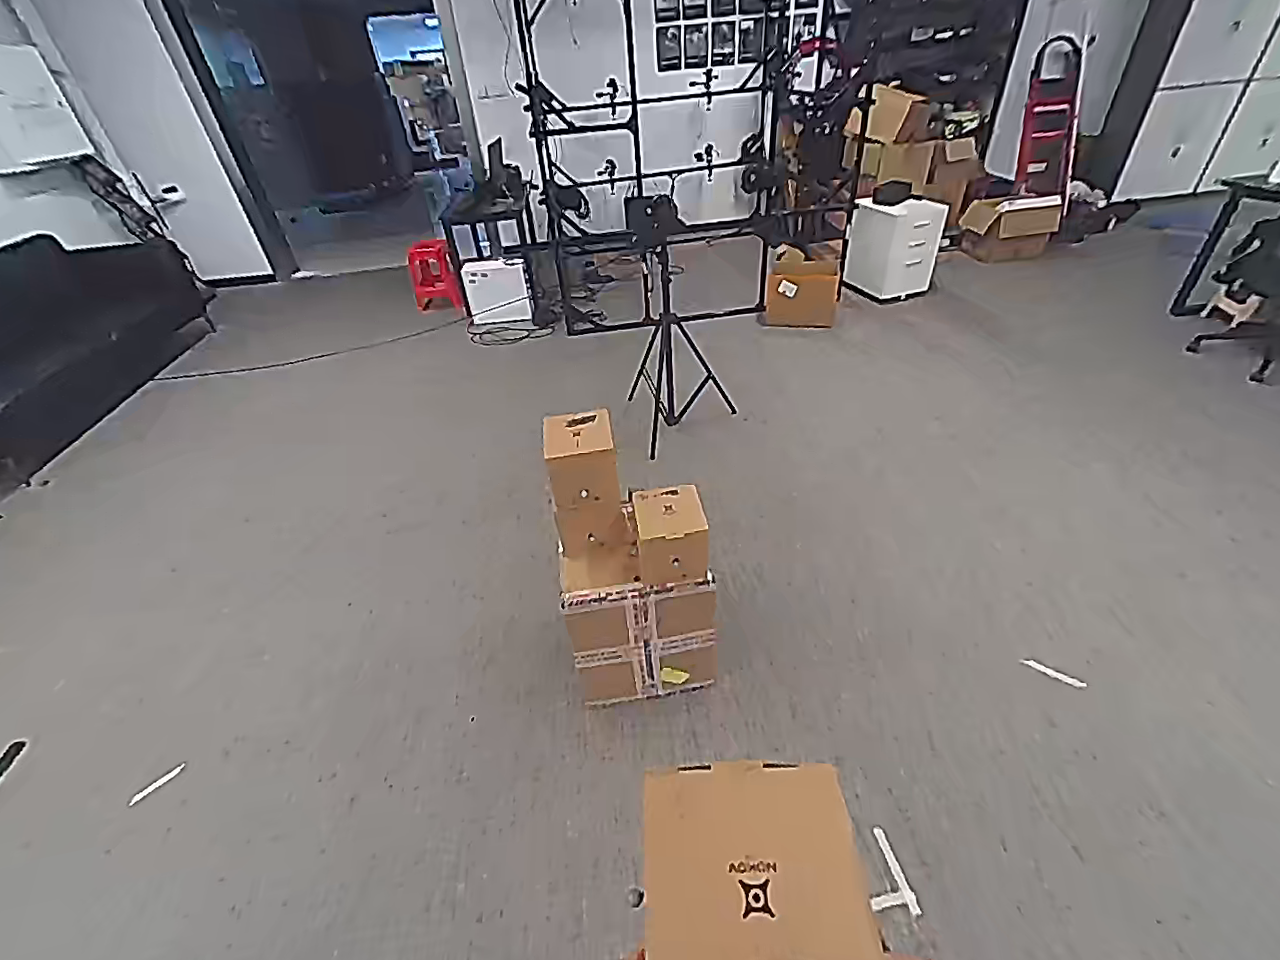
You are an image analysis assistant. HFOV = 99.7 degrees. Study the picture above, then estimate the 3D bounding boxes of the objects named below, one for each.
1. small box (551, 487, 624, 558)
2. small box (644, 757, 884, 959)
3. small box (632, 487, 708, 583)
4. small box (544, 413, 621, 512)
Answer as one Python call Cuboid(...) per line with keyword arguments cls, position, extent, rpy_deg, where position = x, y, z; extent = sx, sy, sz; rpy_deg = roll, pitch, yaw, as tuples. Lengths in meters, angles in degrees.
Cuboid(cls="small box", position=(-0.144, 0.082, 1.465), extent=(0.168, 0.176, 0.179), rpy_deg=(-12, 40, -5))
Cuboid(cls="small box", position=(0.086, 0.358, 0.455), extent=(0.168, 0.176, 0.179), rpy_deg=(-3, 43, 1))
Cuboid(cls="small box", position=(0.075, 0.144, 1.361), extent=(0.168, 0.176, 0.179), rpy_deg=(-7, 40, -4))
Cuboid(cls="small box", position=(-0.144, -0.044, 1.359), extent=(0.168, 0.176, 0.179), rpy_deg=(-10, 40, -2))
